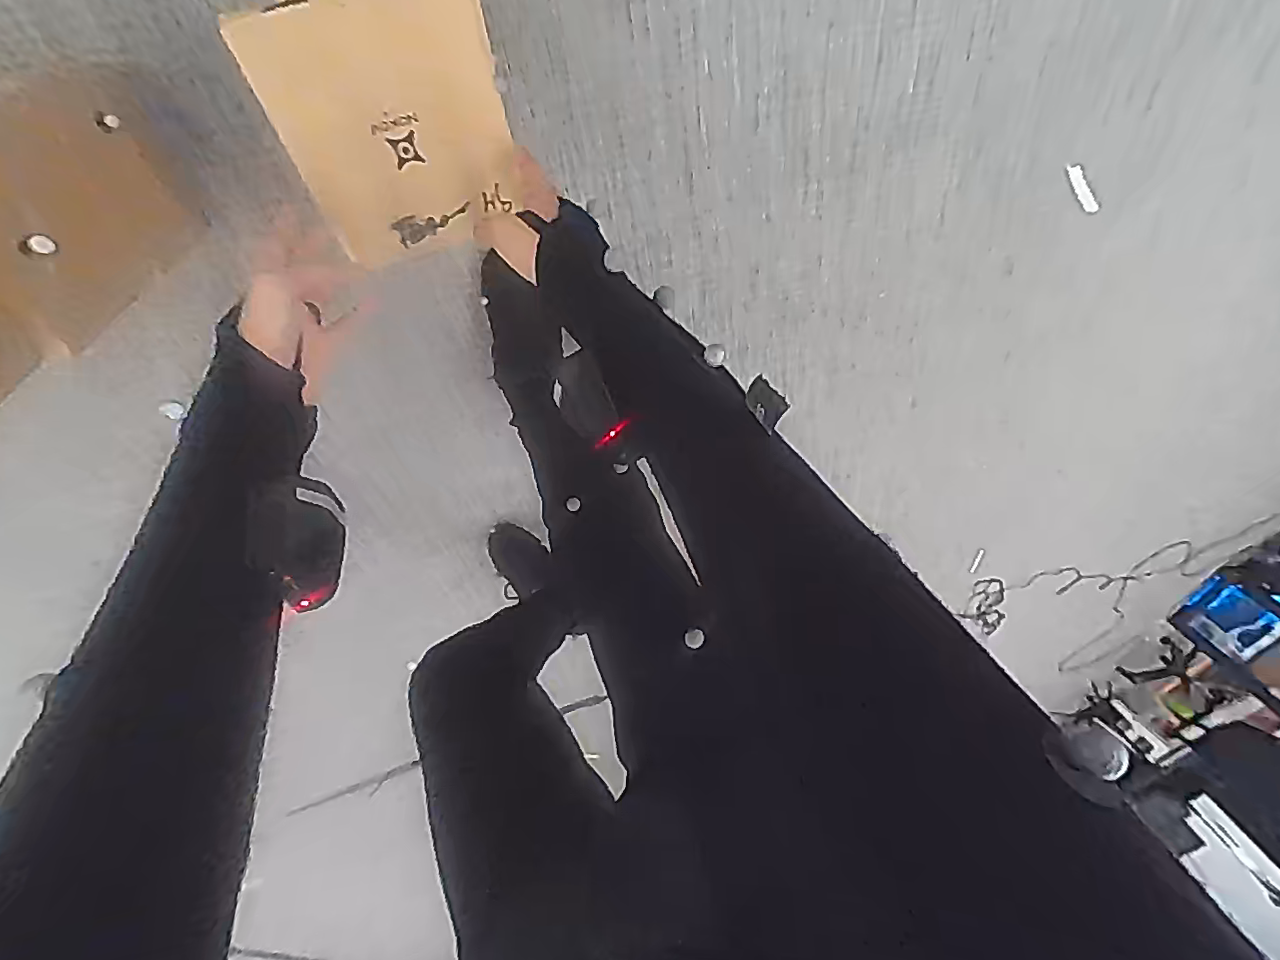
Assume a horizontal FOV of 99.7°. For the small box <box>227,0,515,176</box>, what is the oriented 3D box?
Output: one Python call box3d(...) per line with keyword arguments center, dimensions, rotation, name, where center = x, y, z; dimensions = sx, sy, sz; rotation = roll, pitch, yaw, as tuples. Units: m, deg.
box3d(center=(-0.216, -0.375, 0.433), dimensions=(0.168, 0.176, 0.179), rotation=(-19, 135, -6), name="small box")
